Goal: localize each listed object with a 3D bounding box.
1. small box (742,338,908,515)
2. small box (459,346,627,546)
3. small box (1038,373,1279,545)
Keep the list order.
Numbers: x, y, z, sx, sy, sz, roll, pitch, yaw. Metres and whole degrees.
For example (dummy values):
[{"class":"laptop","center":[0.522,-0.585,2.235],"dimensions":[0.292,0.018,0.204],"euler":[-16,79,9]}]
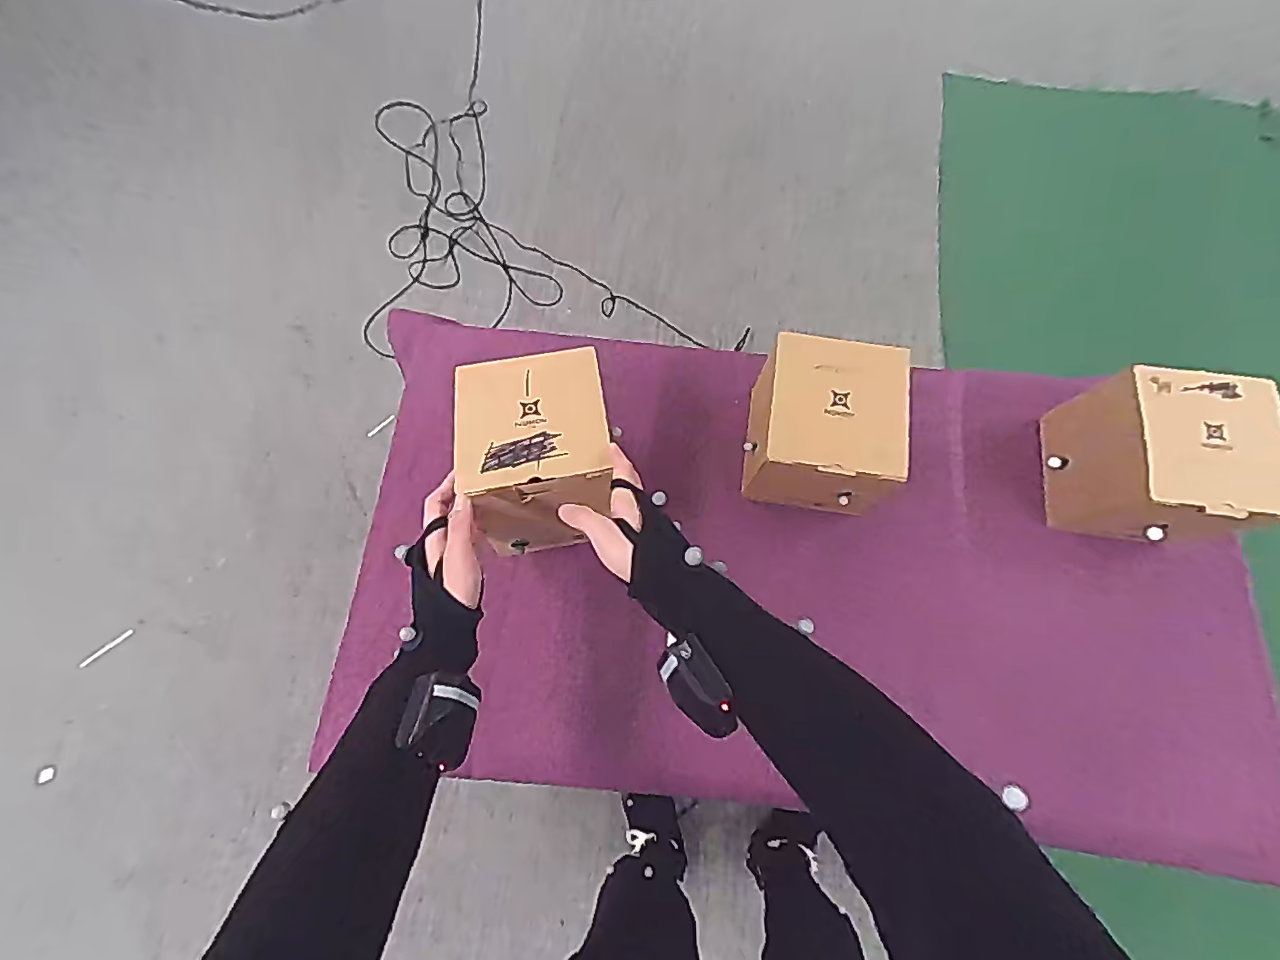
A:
[{"class":"small box","center":[0.238,-0.061,0.727],"dimensions":[0.168,0.176,0.179],"euler":[9,72,2]},{"class":"small box","center":[-0.111,-0.031,0.656],"dimensions":[0.168,0.176,0.179],"euler":[-9,60,-3]},{"class":"small box","center":[0.662,-0.017,0.709],"dimensions":[0.168,0.176,0.179],"euler":[8,75,3]}]
